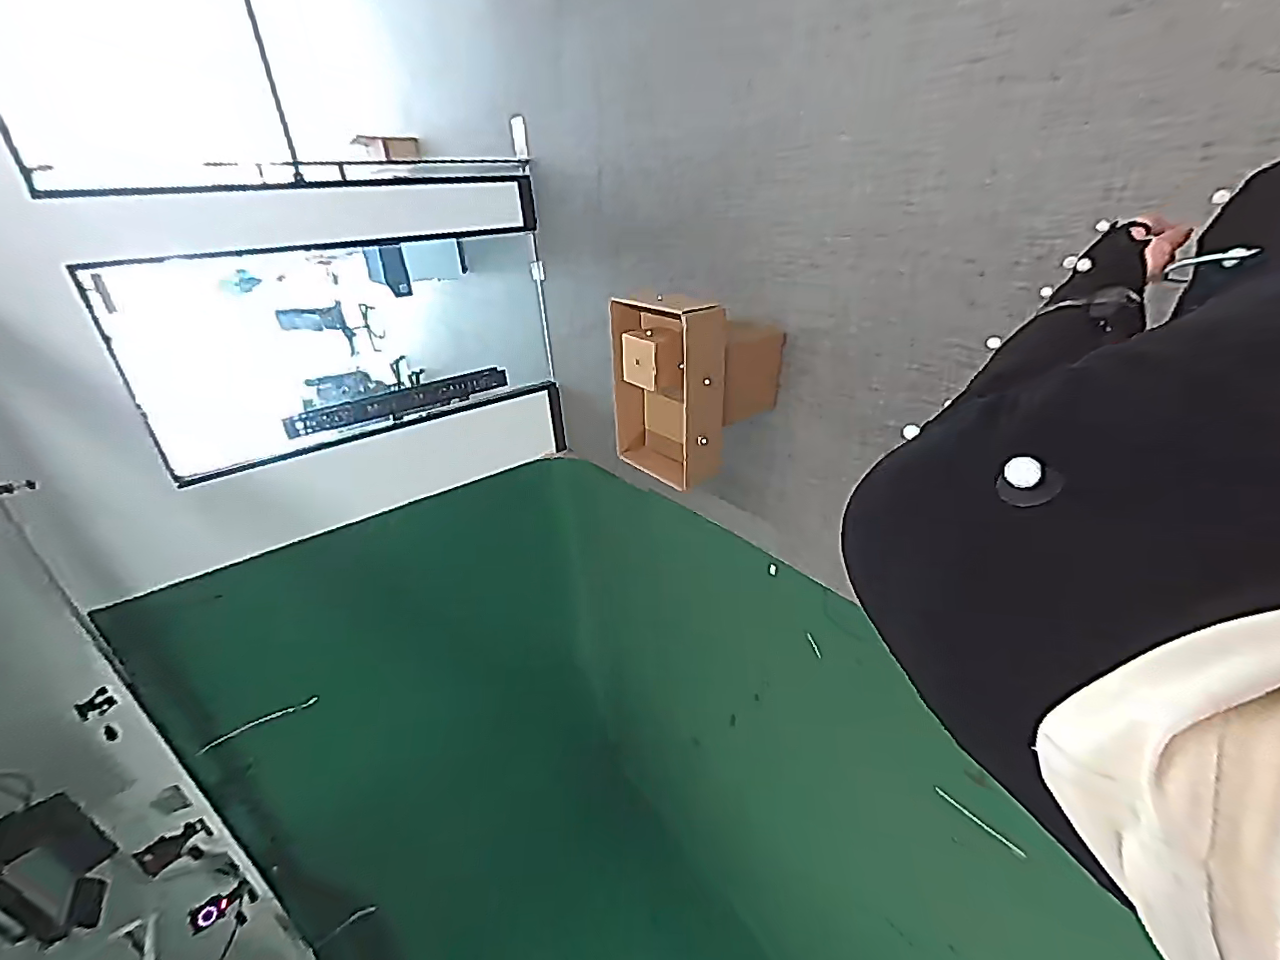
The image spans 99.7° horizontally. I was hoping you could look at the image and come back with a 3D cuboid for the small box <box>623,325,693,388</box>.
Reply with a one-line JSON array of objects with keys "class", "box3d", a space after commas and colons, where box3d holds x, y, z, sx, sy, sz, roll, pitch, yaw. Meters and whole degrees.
[{"class": "small box", "box3d": [0.060, -0.427, 1.841, 0.179, 0.176, 0.168, 31, 132, 44]}]
